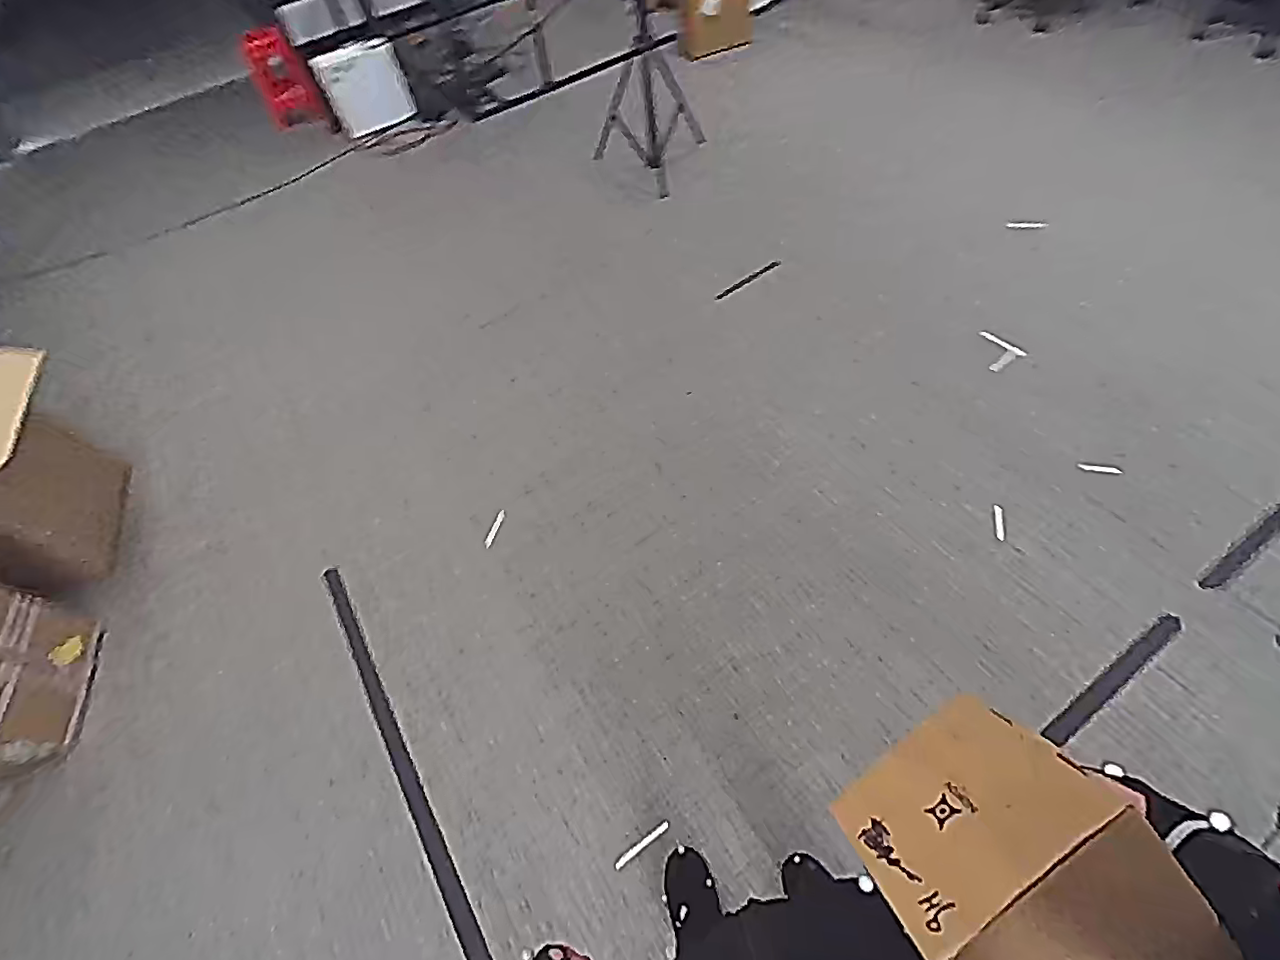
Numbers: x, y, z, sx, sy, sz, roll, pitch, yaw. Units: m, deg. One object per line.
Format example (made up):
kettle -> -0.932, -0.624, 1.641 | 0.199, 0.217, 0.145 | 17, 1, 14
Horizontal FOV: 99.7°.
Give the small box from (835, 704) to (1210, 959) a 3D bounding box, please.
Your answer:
small box -> 0.310, 0.340, 0.457 | 0.179, 0.168, 0.176 | -37, 95, -1
